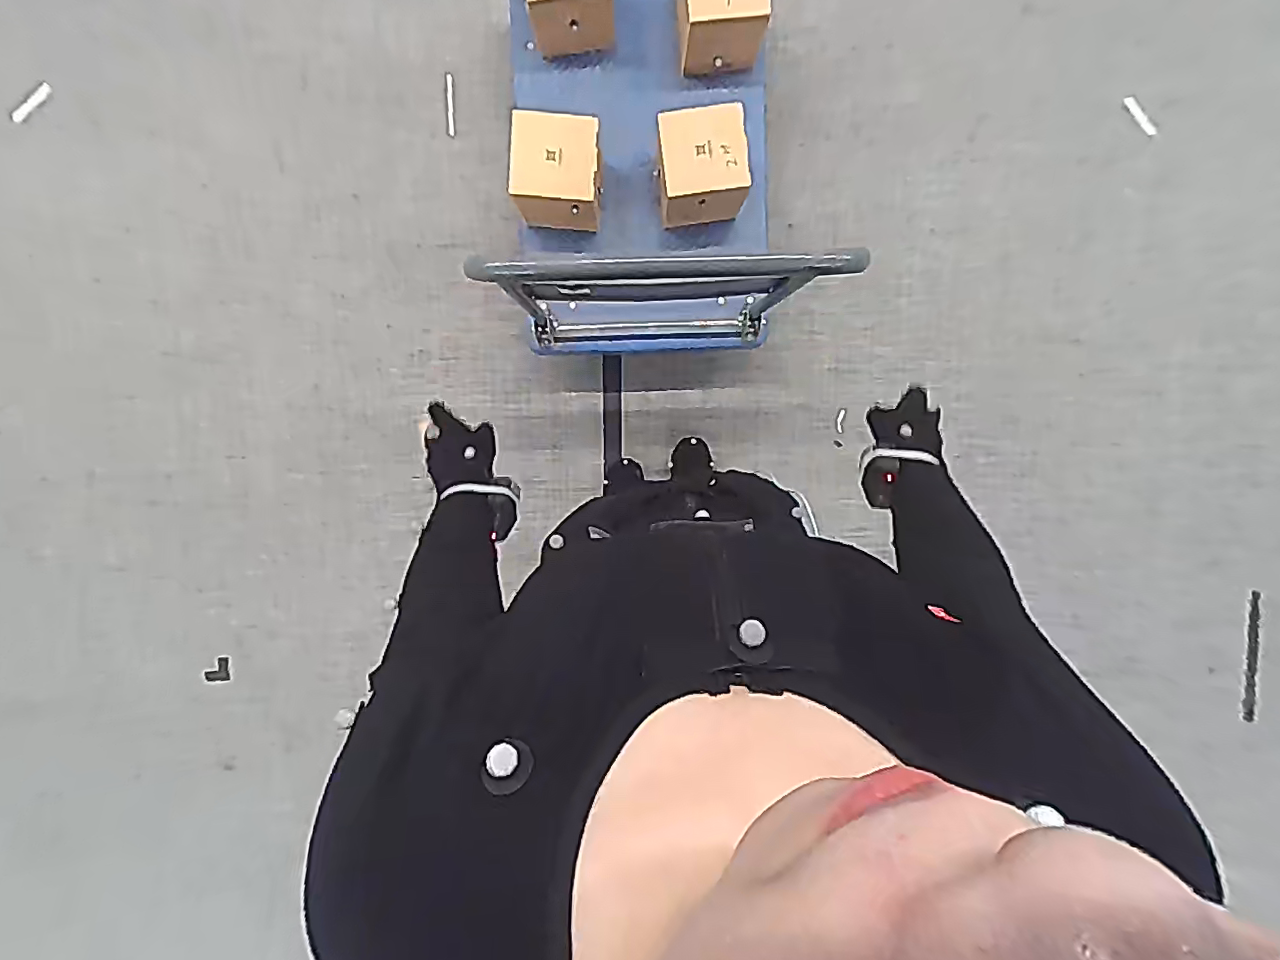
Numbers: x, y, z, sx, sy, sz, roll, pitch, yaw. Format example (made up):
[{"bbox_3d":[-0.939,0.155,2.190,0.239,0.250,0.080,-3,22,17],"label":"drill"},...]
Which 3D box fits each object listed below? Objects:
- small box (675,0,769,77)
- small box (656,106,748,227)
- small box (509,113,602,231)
[{"bbox_3d":[0.168,-1.007,1.151,0.168,0.176,0.179,-5,96,0],"label":"small box"},{"bbox_3d":[0.128,-0.673,1.181,0.179,0.176,0.168,-7,95,0],"label":"small box"},{"bbox_3d":[-0.177,-0.660,1.178,0.179,0.176,0.168,4,95,-3],"label":"small box"}]
